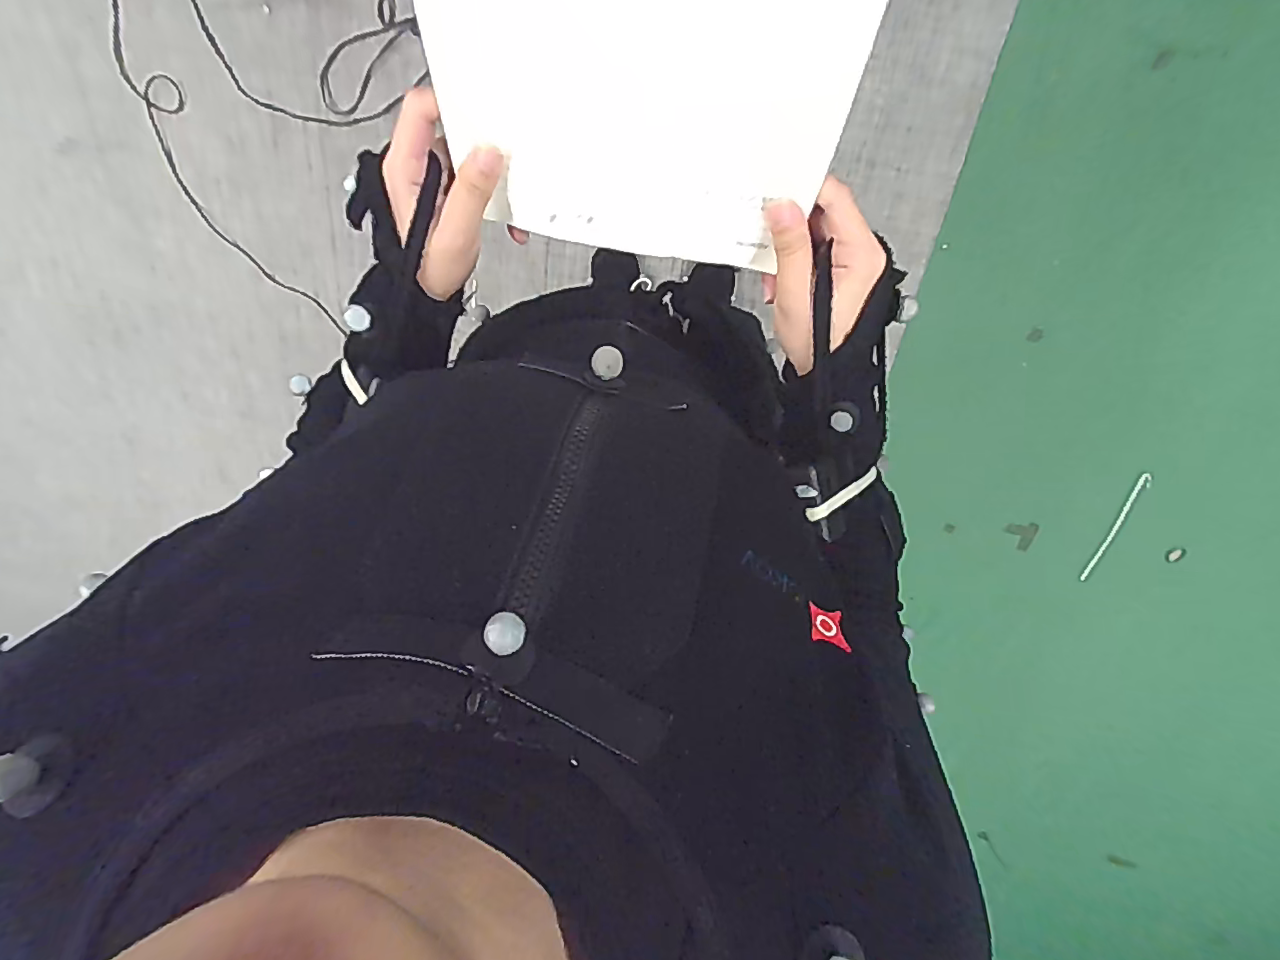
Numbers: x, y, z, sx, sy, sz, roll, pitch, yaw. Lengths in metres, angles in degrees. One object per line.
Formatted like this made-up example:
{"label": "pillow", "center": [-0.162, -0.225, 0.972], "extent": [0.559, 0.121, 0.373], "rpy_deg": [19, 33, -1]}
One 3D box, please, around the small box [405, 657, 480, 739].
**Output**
{"label": "small box", "center": [-0.620, 0.688, 1.722], "extent": [0.179, 0.176, 0.168], "rpy_deg": [7, 115, 4]}
